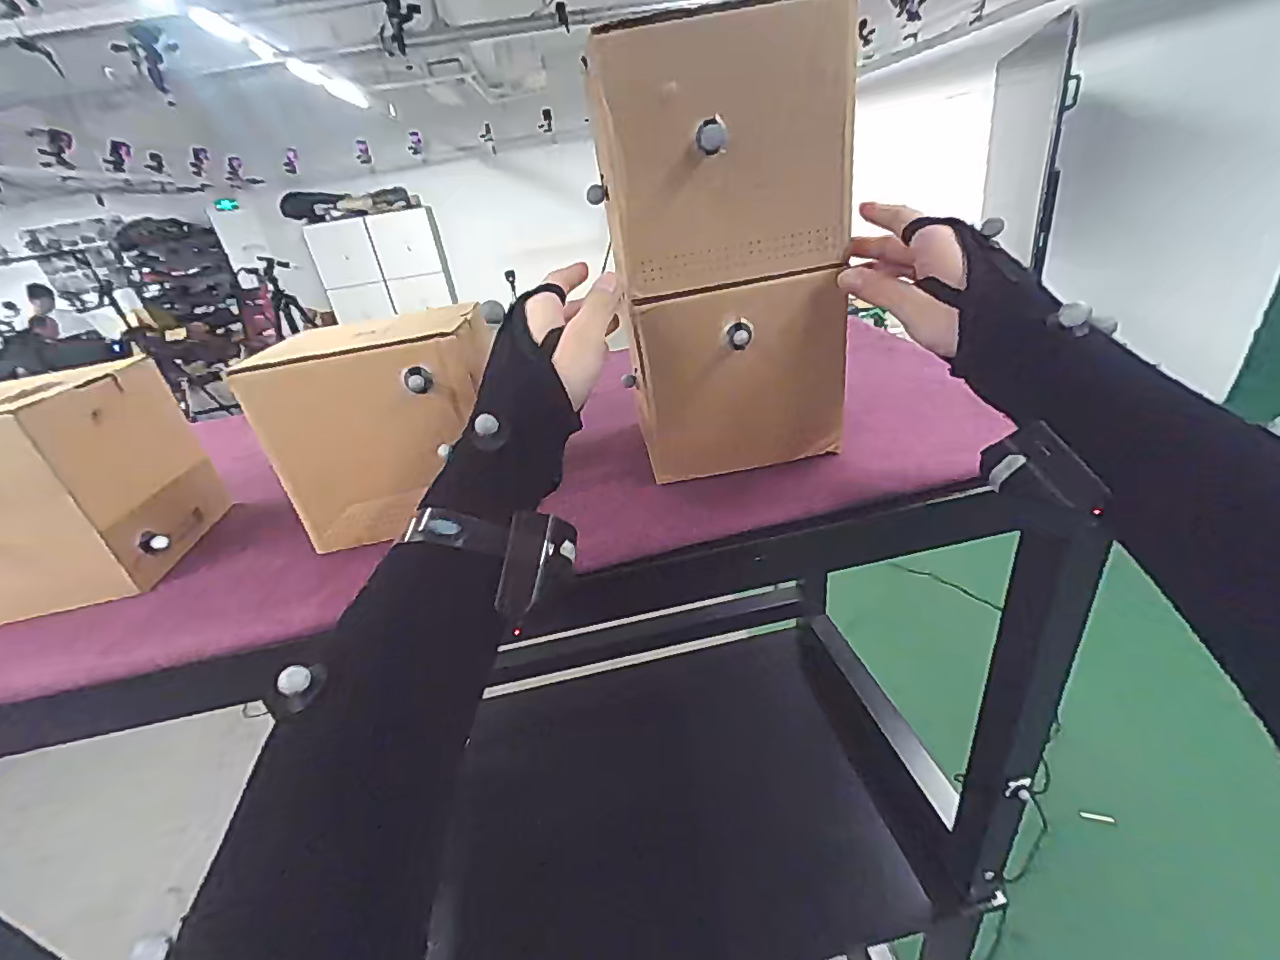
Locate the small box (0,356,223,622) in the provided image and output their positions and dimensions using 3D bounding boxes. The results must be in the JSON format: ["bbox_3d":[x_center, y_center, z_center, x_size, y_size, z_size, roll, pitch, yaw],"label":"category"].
[{"bbox_3d":[-0.525,0.008,0.476,0.179,0.176,0.168,-13,28,-6],"label":"small box"}]

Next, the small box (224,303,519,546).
[{"bbox_3d":[-0.224,-0.057,0.509,0.179,0.176,0.168,-12,28,-5],"label":"small box"}]

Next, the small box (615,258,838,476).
[{"bbox_3d":[0.077,-0.117,0.523,0.179,0.176,0.168,-10,28,0],"label":"small box"}]

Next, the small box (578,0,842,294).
[{"bbox_3d":[0.053,-0.259,0.447,0.179,0.176,0.168,-12,29,-1],"label":"small box"}]
